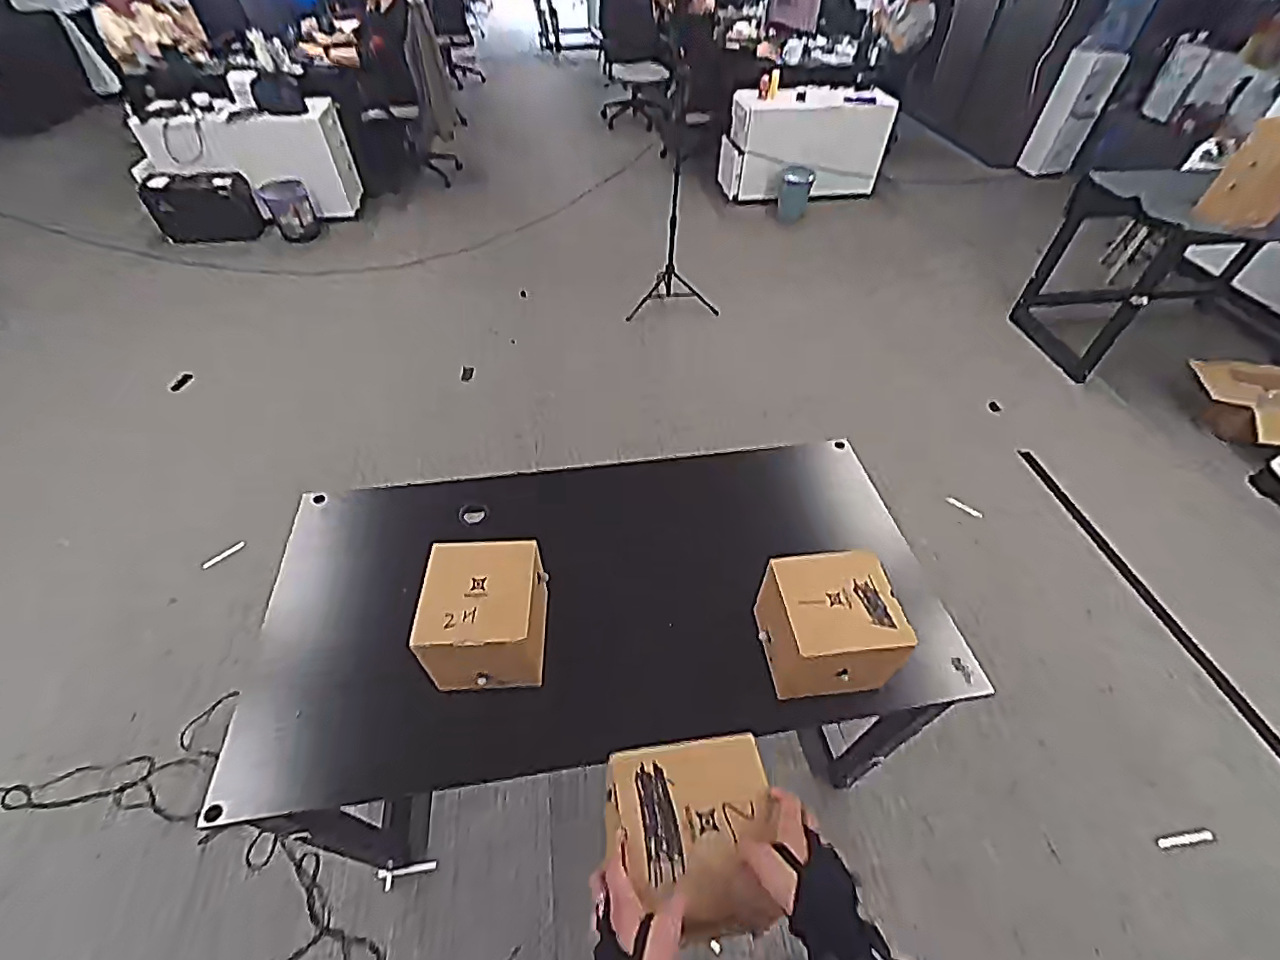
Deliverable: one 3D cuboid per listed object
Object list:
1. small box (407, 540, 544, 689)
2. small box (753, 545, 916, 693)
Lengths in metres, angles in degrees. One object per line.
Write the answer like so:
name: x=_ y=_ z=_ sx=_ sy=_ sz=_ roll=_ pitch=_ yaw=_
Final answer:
small box: x=-0.248 y=0.216 z=0.867 sx=0.168 sy=0.176 sz=0.179 roll=-2 pitch=49 yaw=-2
small box: x=0.296 y=0.224 z=0.866 sx=0.179 sy=0.176 sz=0.168 roll=-6 pitch=48 yaw=-4
